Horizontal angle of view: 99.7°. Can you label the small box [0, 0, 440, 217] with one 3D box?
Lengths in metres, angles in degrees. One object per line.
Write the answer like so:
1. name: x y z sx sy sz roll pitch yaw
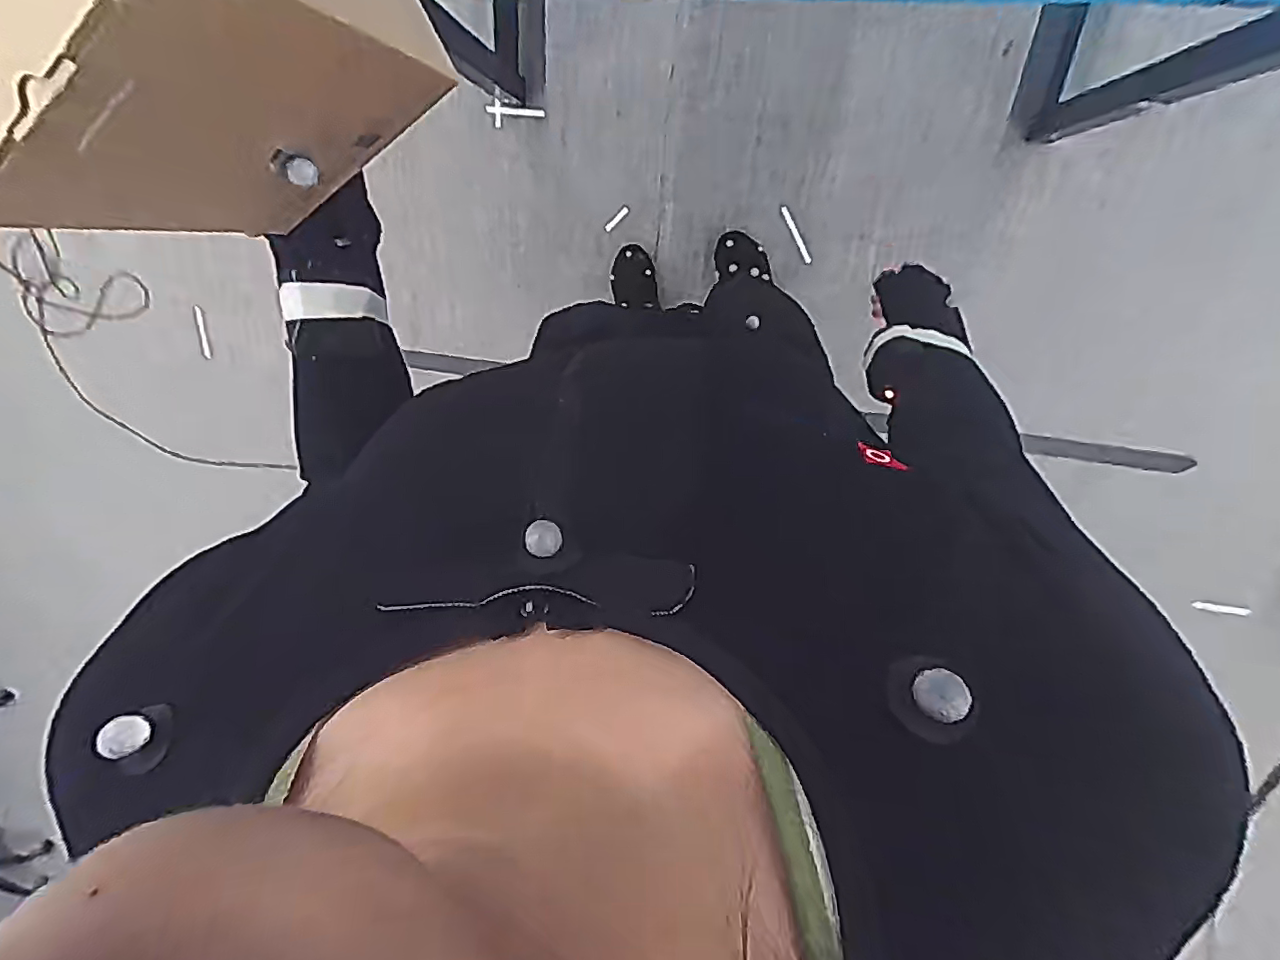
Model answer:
1. small box: -0.231 -0.236 0.240 0.168 0.176 0.179 -17 110 22
